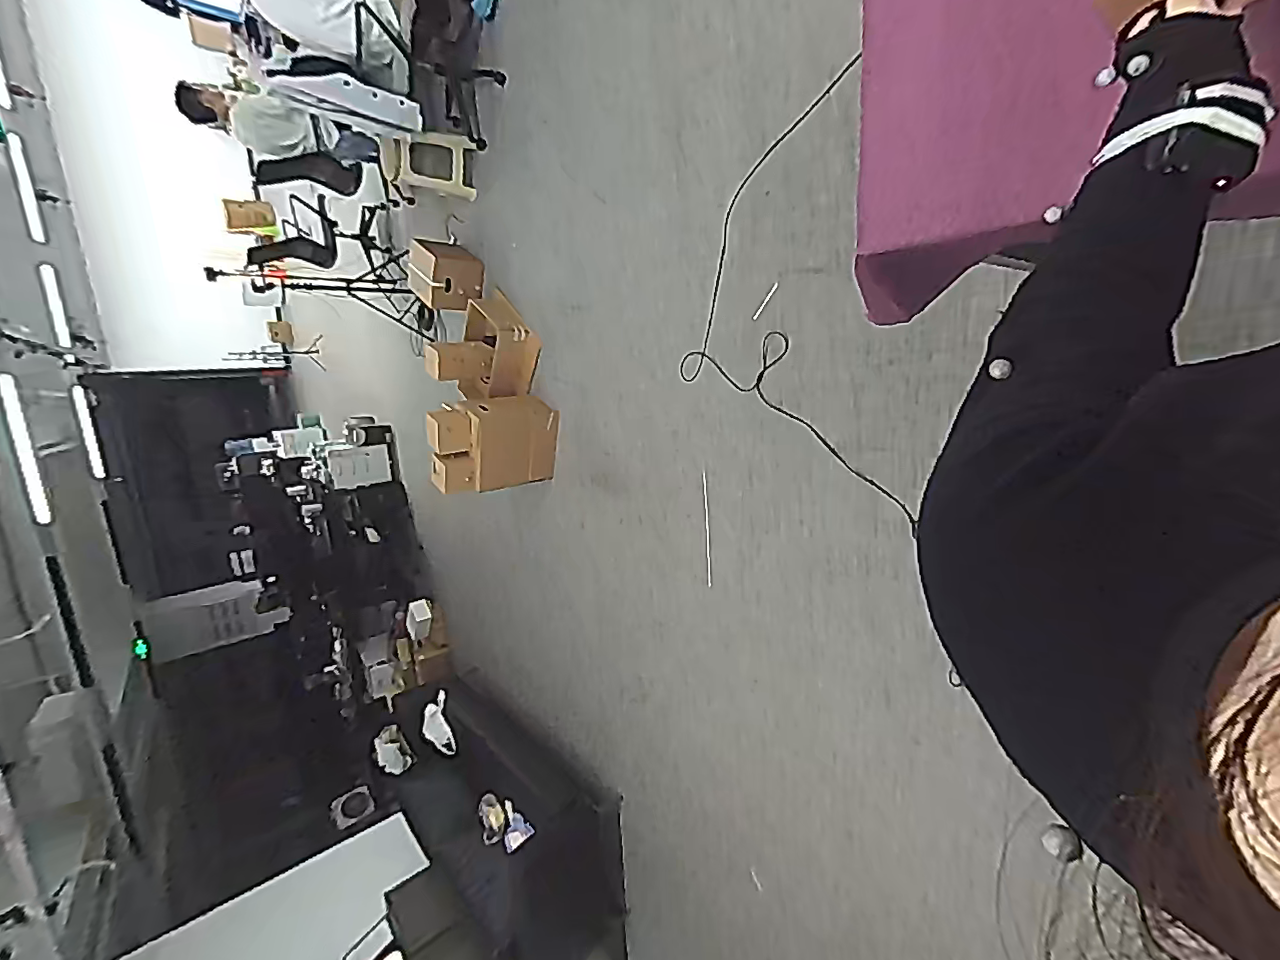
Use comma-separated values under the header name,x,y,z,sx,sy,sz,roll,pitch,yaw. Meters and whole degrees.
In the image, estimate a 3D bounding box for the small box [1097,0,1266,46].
name,x,y,z,sx,sy,sz,roll,pitch,yaw
small box,0.498,-0.521,0.453,0.168,0.176,0.179,13,109,49
